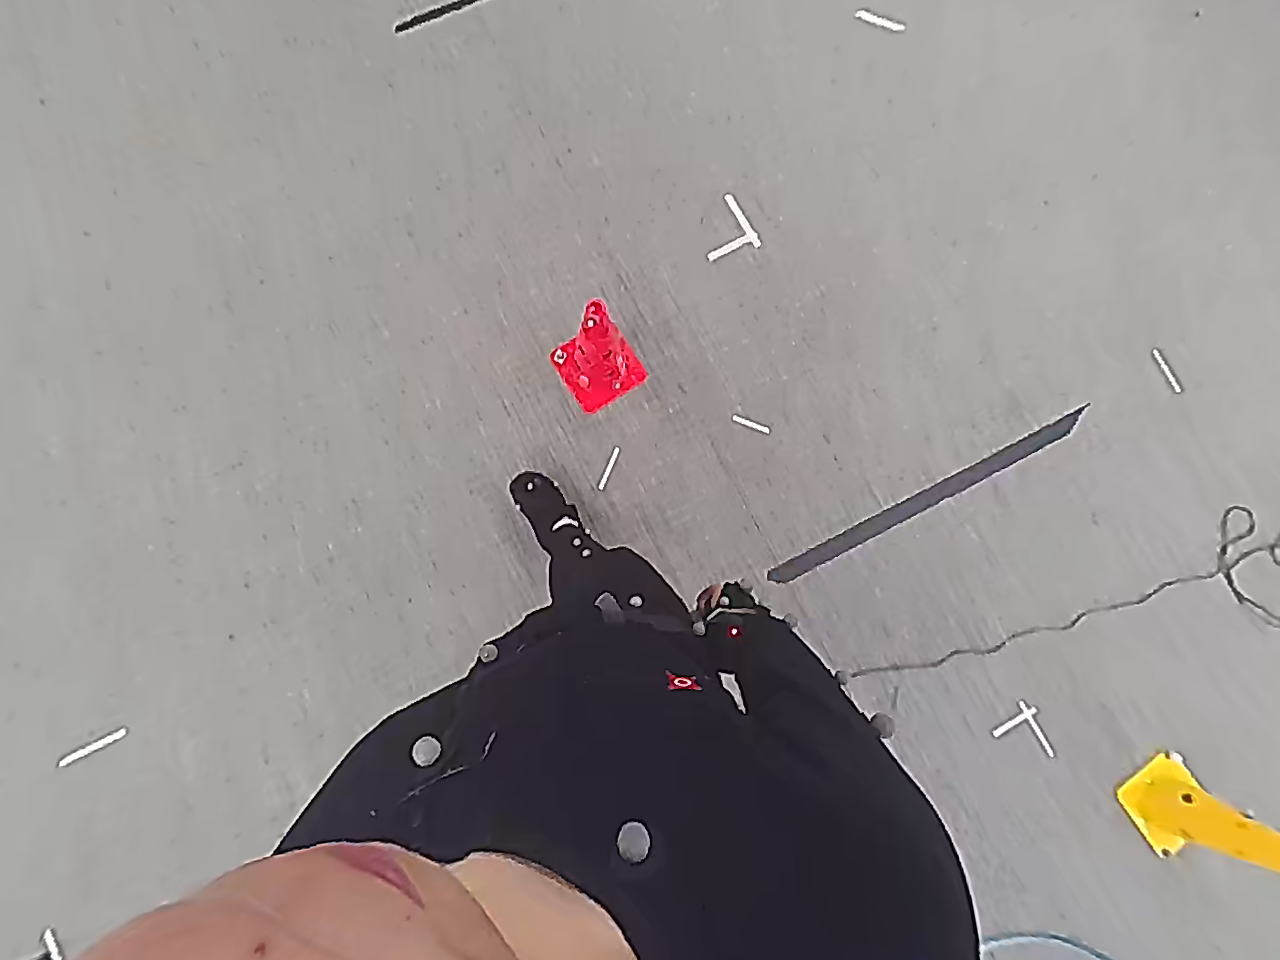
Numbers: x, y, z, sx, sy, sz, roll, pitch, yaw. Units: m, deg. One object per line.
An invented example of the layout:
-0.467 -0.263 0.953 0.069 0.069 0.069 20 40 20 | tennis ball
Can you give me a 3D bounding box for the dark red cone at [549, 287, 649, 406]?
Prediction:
-0.093 -0.329 1.224 0.202 0.394 0.201 -34 87 -7 | dark red cone
